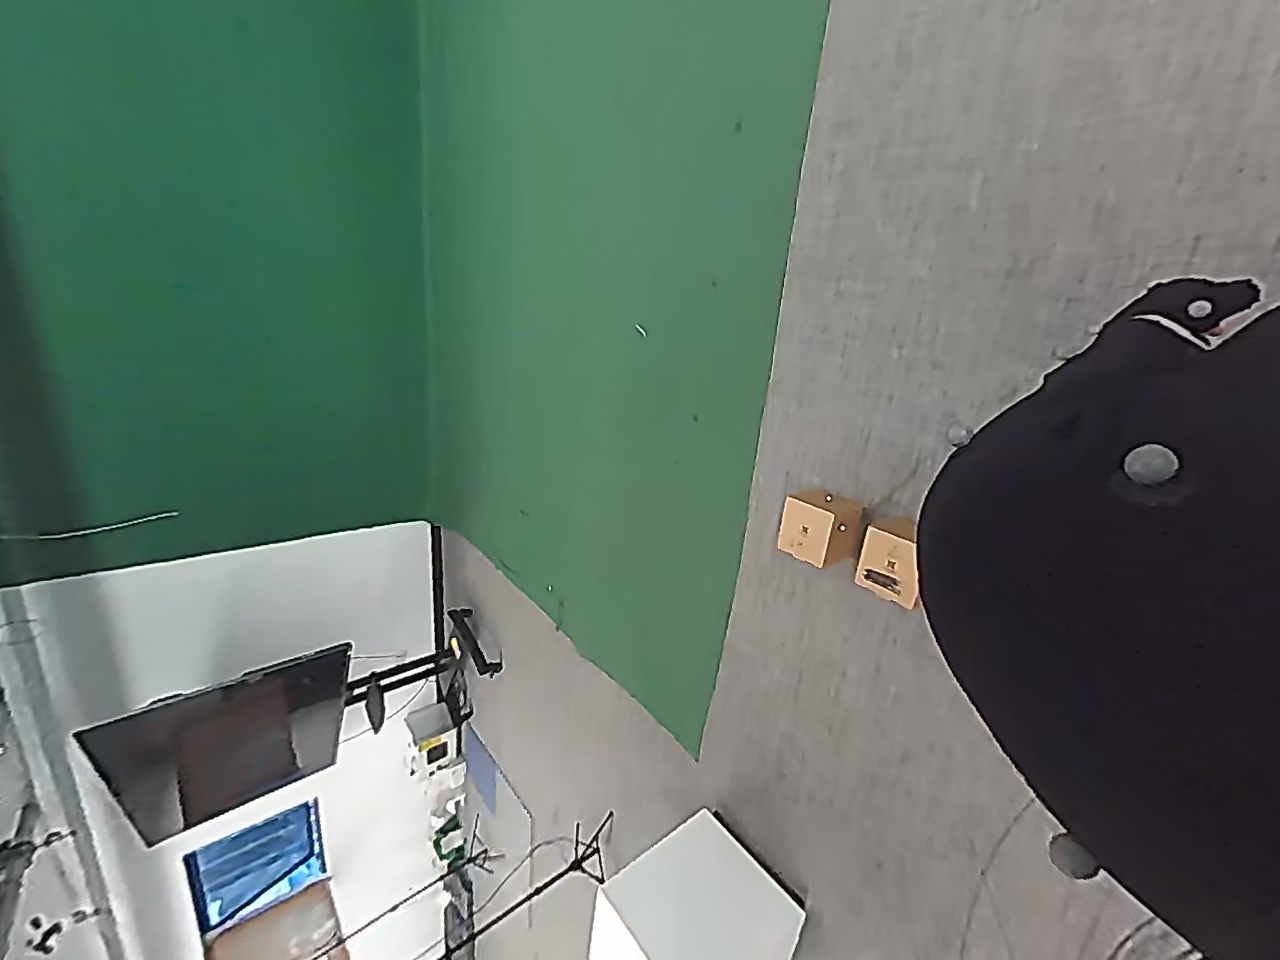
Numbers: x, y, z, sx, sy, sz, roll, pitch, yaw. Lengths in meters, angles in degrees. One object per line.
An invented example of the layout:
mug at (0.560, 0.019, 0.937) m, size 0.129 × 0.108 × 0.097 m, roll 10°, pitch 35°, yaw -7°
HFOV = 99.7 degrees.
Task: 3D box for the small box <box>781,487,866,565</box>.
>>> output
small box at (0.559, 0.131, 1.640) m, size 0.168 × 0.176 × 0.179 m, roll 26°, pitch 117°, yaw 47°
